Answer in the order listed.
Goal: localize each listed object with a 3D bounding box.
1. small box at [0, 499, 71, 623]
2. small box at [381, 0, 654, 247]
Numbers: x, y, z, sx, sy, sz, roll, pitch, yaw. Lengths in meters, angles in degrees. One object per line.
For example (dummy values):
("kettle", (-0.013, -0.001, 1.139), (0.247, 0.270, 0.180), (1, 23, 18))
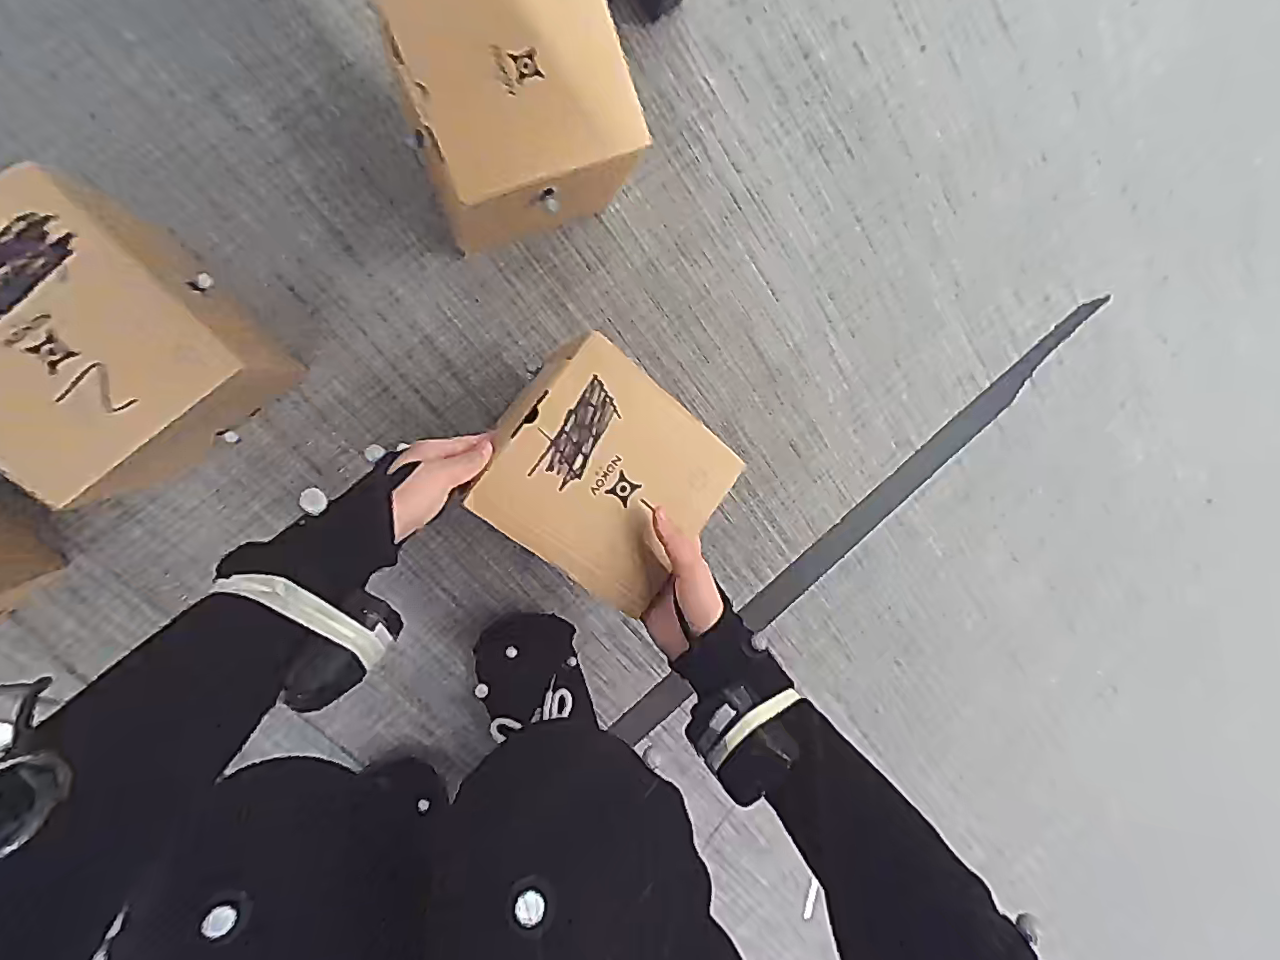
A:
("small box", (-0.633, 0.077, 0.414), (0.168, 0.176, 0.179), (-39, 106, -8))
("small box", (-0.113, -0.341, 0.505), (0.179, 0.176, 0.168), (-24, 105, -11))
